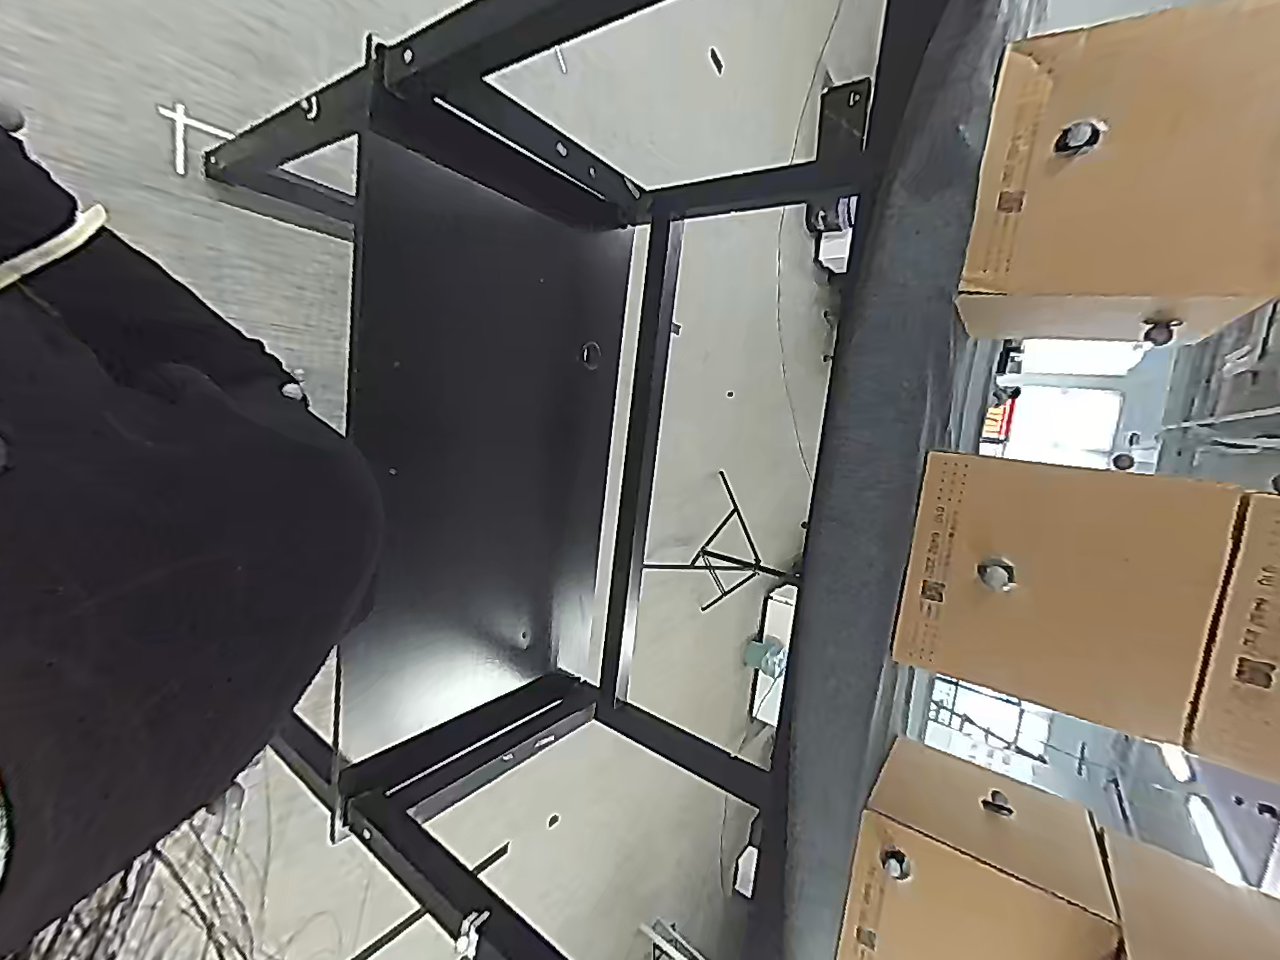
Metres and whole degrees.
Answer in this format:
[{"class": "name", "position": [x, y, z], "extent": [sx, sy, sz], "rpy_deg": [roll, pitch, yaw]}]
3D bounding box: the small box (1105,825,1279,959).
[{"class": "small box", "position": [0.411, 0.388, 0.363], "extent": [0.179, 0.176, 0.168], "rpy_deg": [-8, 107, -55]}]

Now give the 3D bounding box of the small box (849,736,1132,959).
[{"class": "small box", "position": [0.296, 0.362, 0.480], "extent": [0.179, 0.176, 0.168], "rpy_deg": [3, 96, -57]}]

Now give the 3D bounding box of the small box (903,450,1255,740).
[{"class": "small box", "position": [0.327, 0.067, 0.439], "extent": [0.179, 0.176, 0.168], "rpy_deg": [-2, 101, -57]}]

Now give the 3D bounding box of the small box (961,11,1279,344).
[{"class": "small box", "position": [0.354, -0.202, 0.404], "extent": [0.179, 0.176, 0.168], "rpy_deg": [-5, 105, -56]}]

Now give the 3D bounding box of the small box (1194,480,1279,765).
[{"class": "small box", "position": [0.464, 0.095, 0.352], "extent": [0.179, 0.176, 0.168], "rpy_deg": [-3, 102, -56]}]
